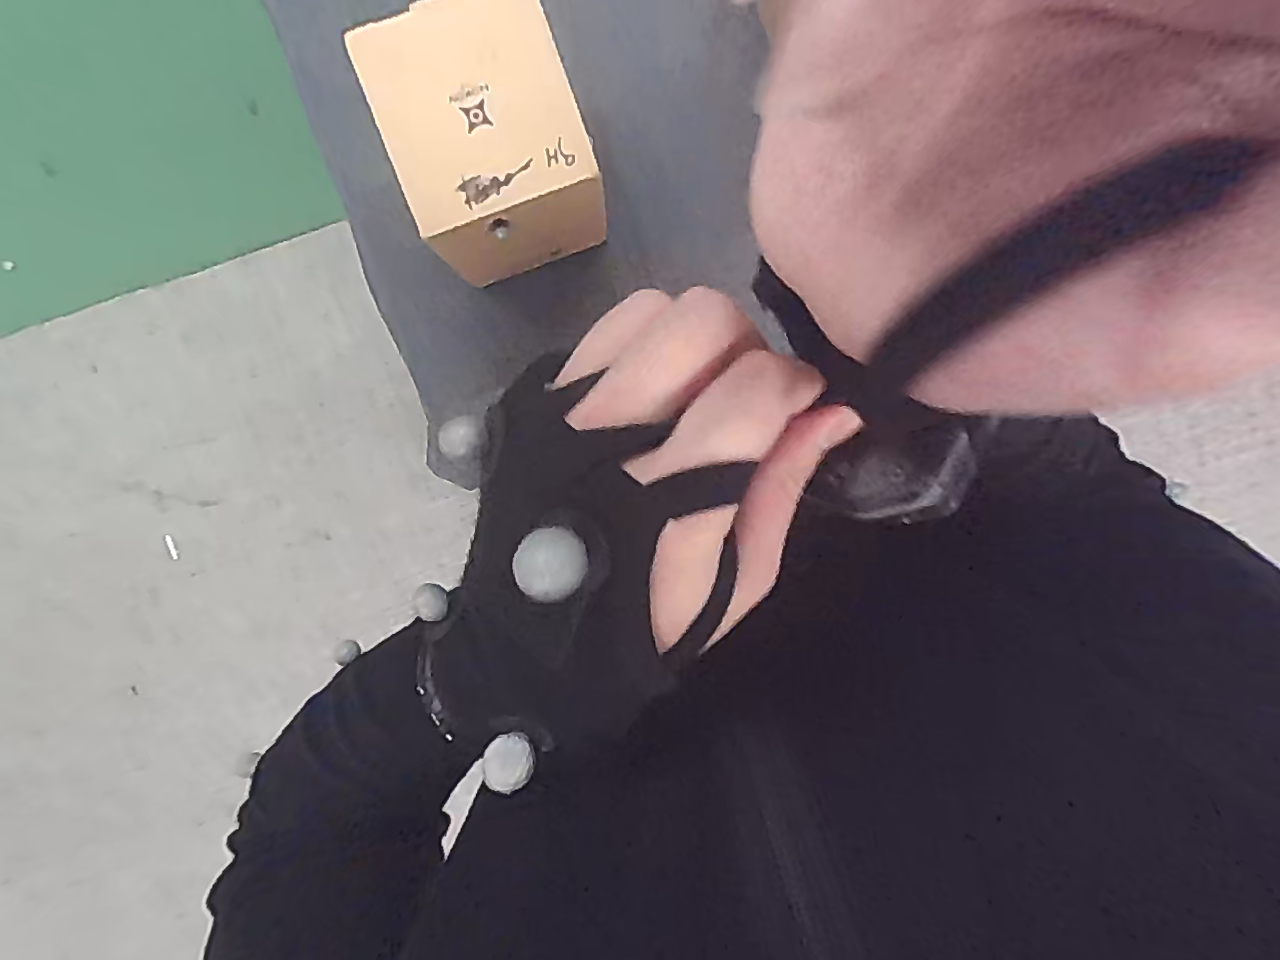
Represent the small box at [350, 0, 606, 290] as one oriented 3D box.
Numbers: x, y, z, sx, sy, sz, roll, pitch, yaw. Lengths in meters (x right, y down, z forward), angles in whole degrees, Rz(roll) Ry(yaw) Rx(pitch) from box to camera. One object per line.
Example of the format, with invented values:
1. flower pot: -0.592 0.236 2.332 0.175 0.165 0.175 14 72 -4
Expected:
1. small box: -0.139 -0.315 0.533 0.168 0.176 0.179 -20 95 1
